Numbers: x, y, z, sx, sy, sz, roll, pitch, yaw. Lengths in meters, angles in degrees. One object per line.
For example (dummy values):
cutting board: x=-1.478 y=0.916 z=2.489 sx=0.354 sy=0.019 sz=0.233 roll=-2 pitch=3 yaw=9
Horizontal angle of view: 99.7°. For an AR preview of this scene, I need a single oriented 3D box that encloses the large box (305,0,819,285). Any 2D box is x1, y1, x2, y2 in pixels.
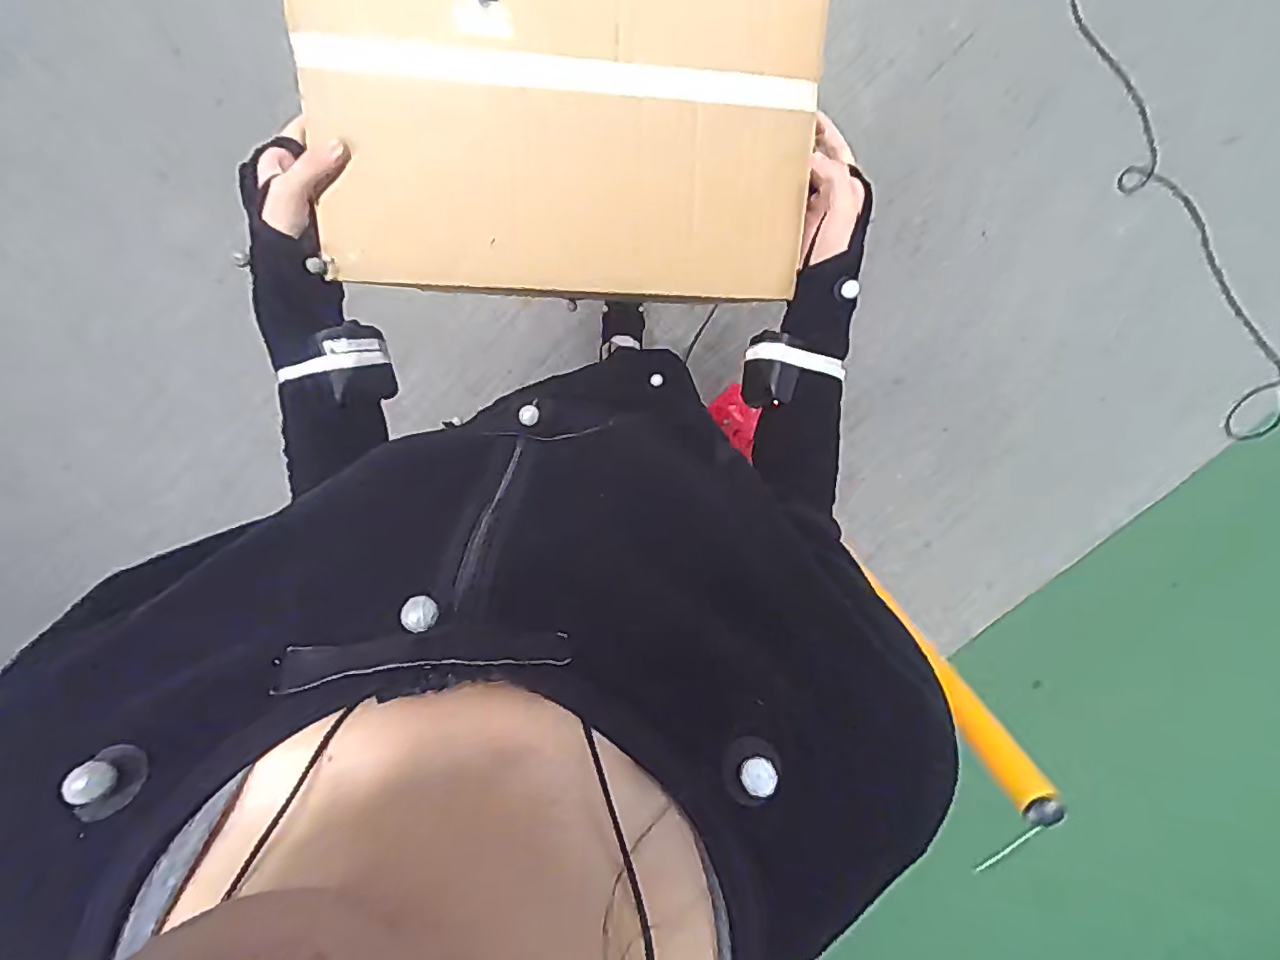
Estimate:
large box: x=-0.069 y=-0.376 z=0.573 sx=0.408 sy=0.320 sz=0.320 roll=-1 pitch=108 yaw=-7
